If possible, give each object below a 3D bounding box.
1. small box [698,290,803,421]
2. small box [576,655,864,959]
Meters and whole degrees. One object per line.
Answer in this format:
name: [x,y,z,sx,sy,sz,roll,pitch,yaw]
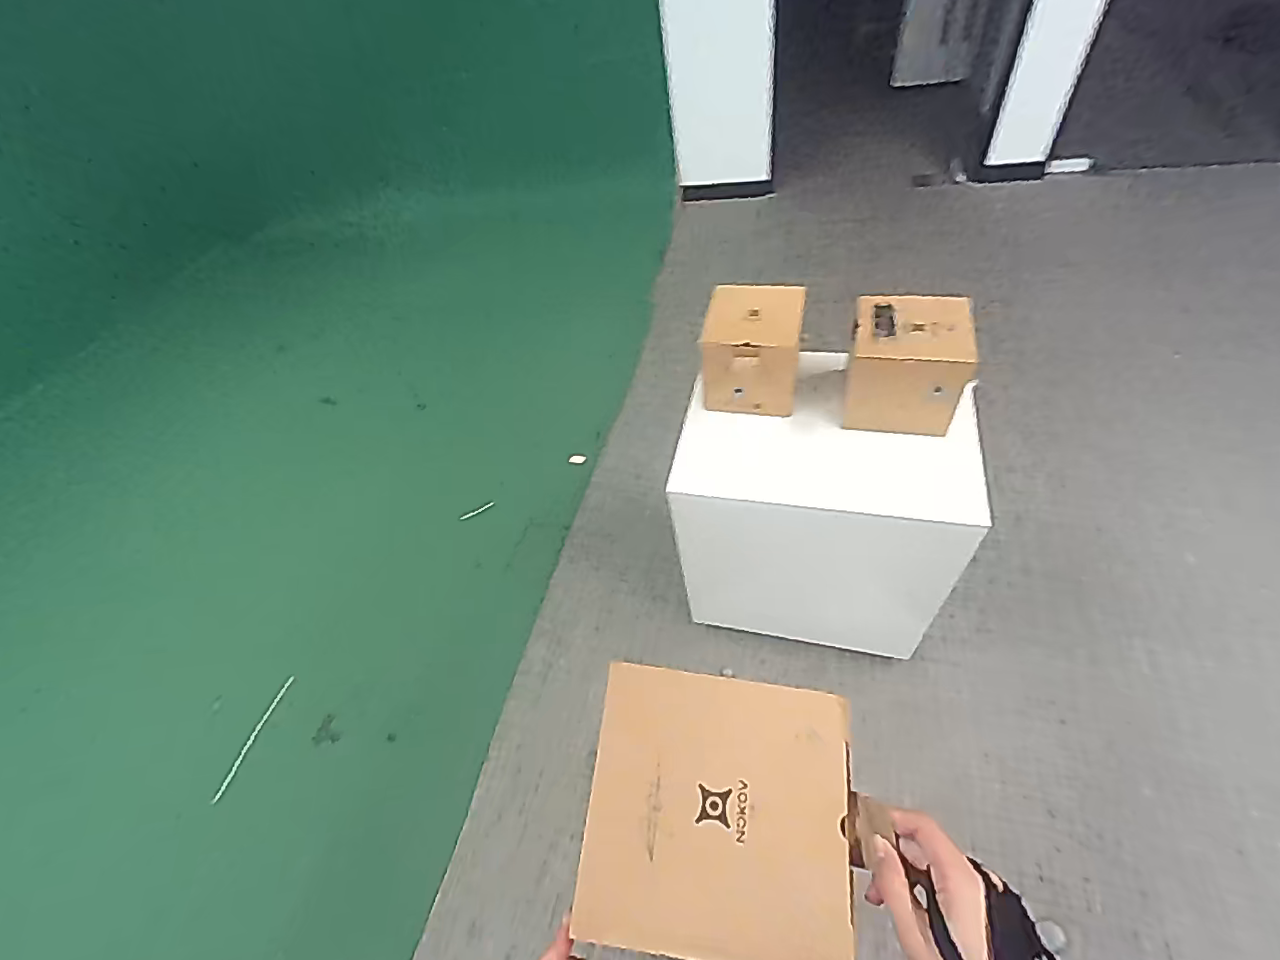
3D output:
small box: [0.209,-0.237,1.026,0.168,0.176,0.179,7,54,15]
small box: [0.059,0.249,0.430,0.179,0.176,0.168,7,61,5]
